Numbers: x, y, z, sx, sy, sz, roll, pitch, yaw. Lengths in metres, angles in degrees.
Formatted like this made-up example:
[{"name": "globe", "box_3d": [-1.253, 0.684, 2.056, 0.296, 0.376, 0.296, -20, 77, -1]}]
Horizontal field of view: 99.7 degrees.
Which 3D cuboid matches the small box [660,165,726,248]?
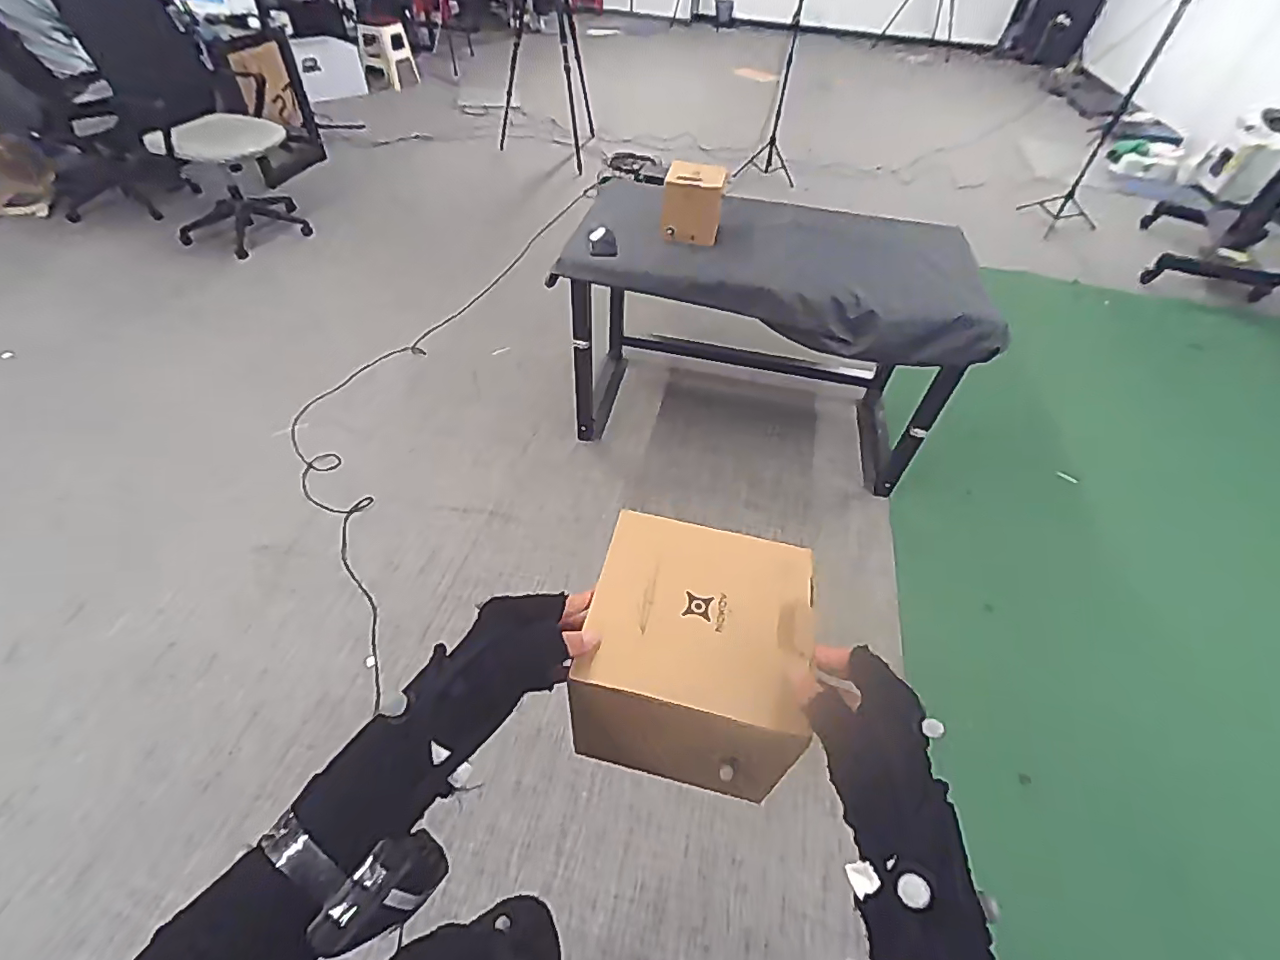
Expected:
[{"name": "small box", "box_3d": [0.158, -0.822, 1.632, 0.168, 0.176, 0.179, 11, 47, 5]}]
